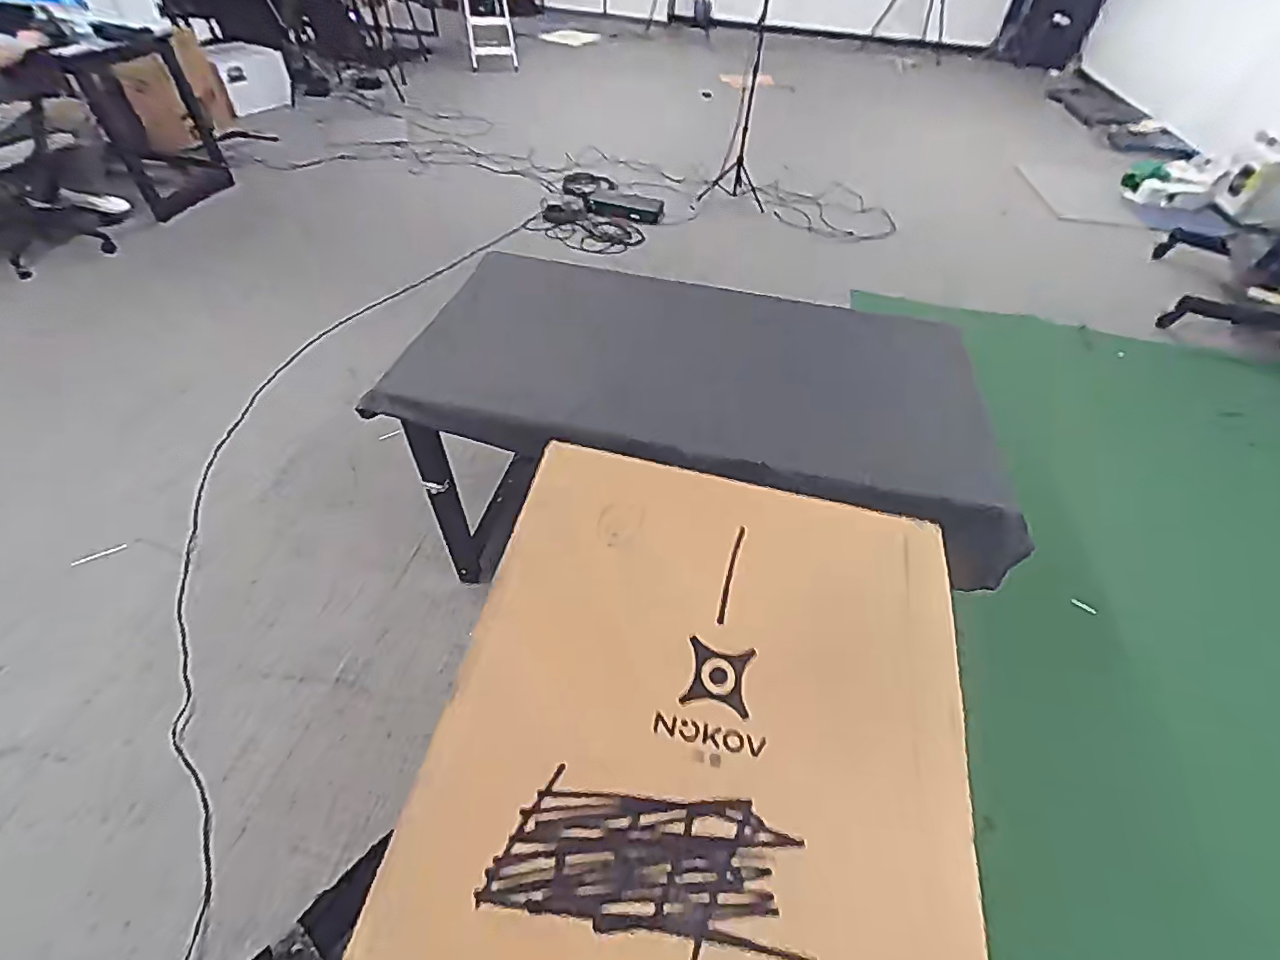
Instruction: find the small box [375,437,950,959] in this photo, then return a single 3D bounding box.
[{"bbox_3d":[0.017,0.111,0.258,0.168,0.176,0.179,13,57,4],"label":"small box"}]
